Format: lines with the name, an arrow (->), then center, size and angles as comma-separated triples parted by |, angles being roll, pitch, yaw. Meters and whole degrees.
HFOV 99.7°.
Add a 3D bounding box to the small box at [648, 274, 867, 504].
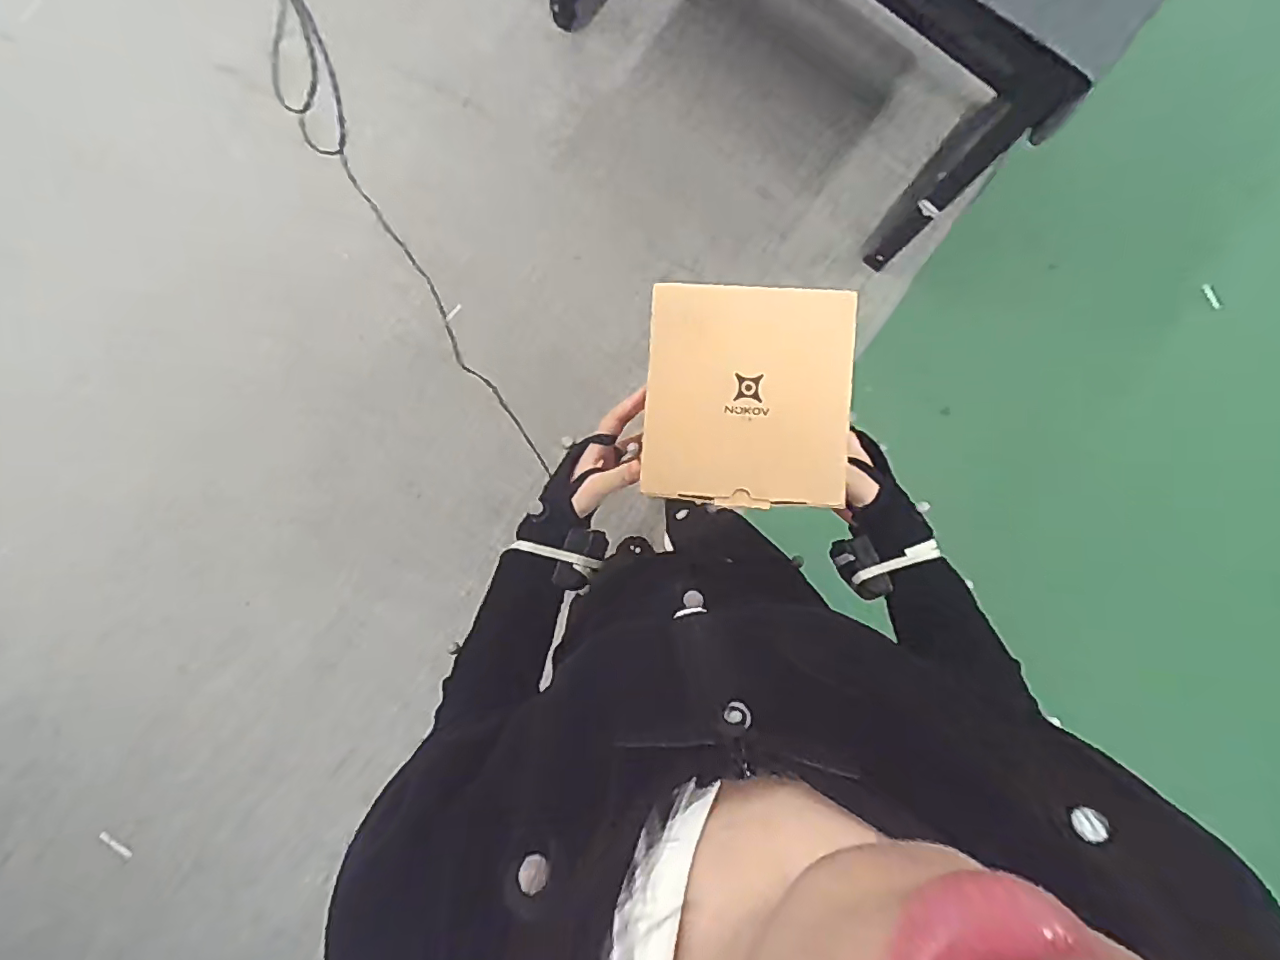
small box -> 0.094, -0.070, 0.504 | 0.168, 0.176, 0.179 | 3, 89, 1
